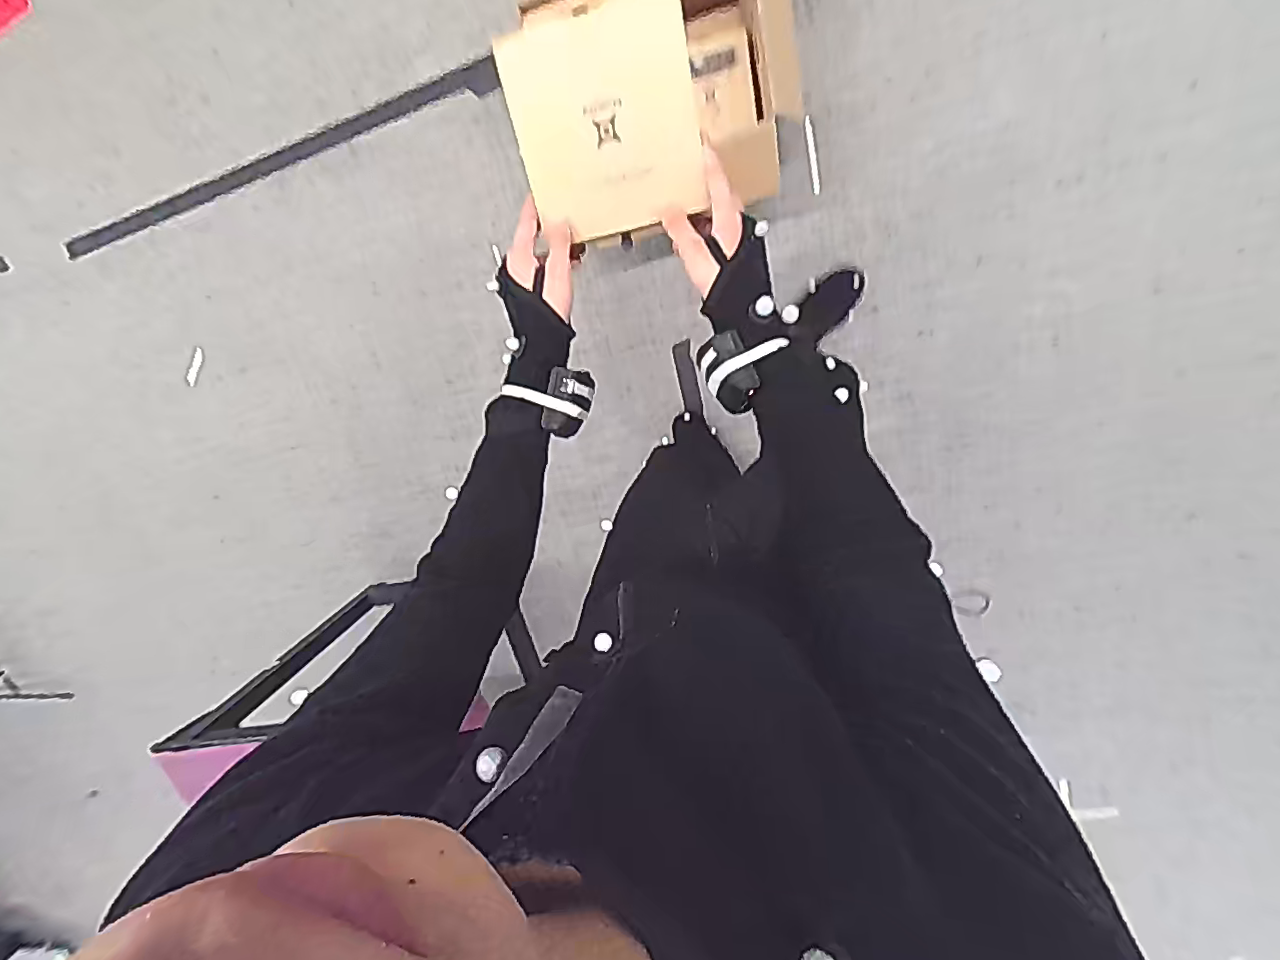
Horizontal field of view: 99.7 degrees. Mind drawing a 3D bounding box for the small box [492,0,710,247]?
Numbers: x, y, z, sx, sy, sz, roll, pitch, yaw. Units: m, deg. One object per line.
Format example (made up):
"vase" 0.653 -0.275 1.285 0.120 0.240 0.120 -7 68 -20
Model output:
"small box" -0.025 -0.348 0.554 0.168 0.176 0.179 -9 112 11
